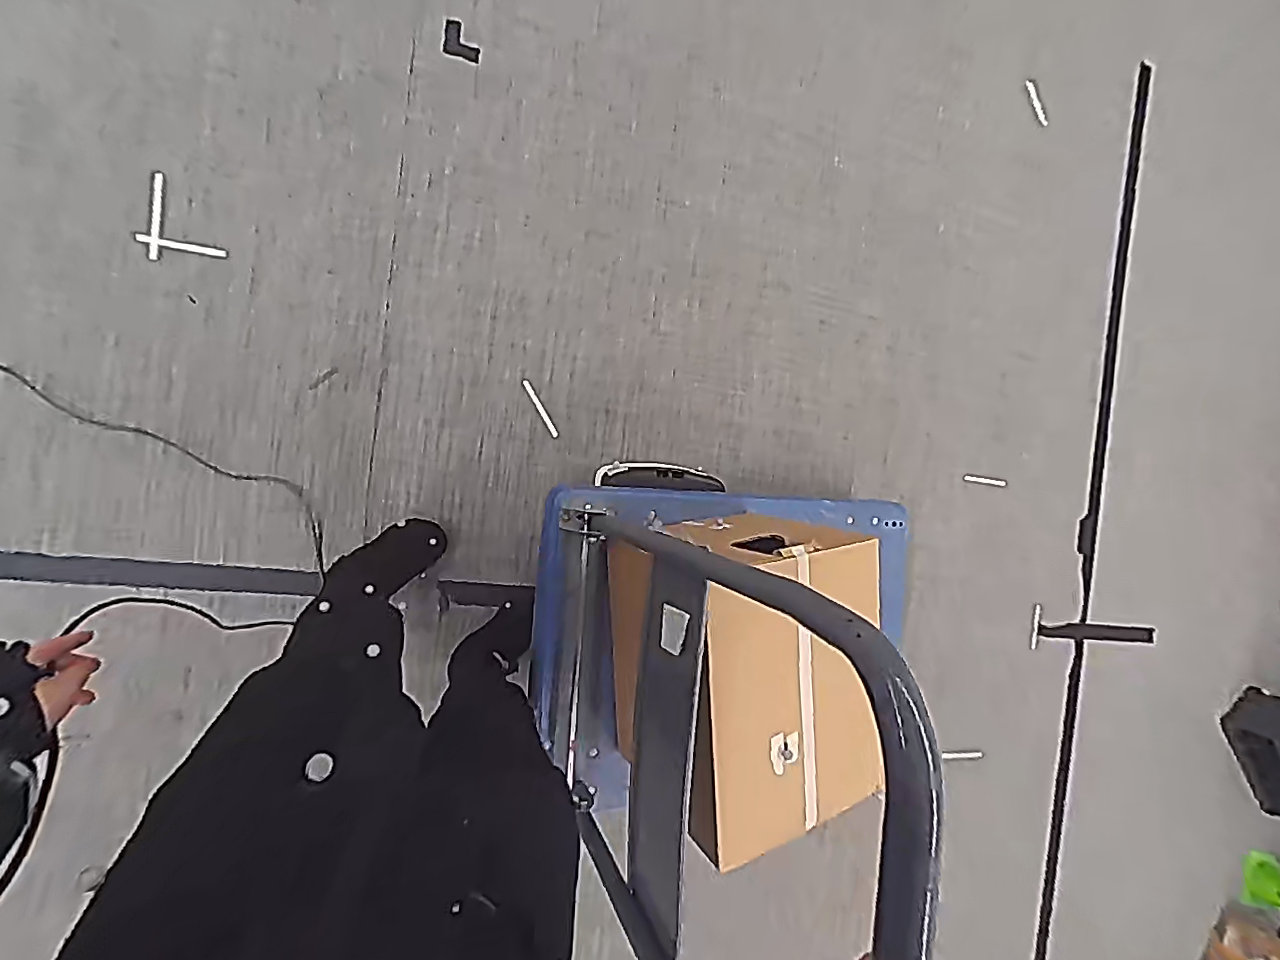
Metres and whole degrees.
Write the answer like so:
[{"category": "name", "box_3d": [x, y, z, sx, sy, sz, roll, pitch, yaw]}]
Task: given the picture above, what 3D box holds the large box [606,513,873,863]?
[{"category": "large box", "box_3d": [0.153, 0.288, 0.894, 0.320, 0.320, 0.408, -6, 97, -27]}]
